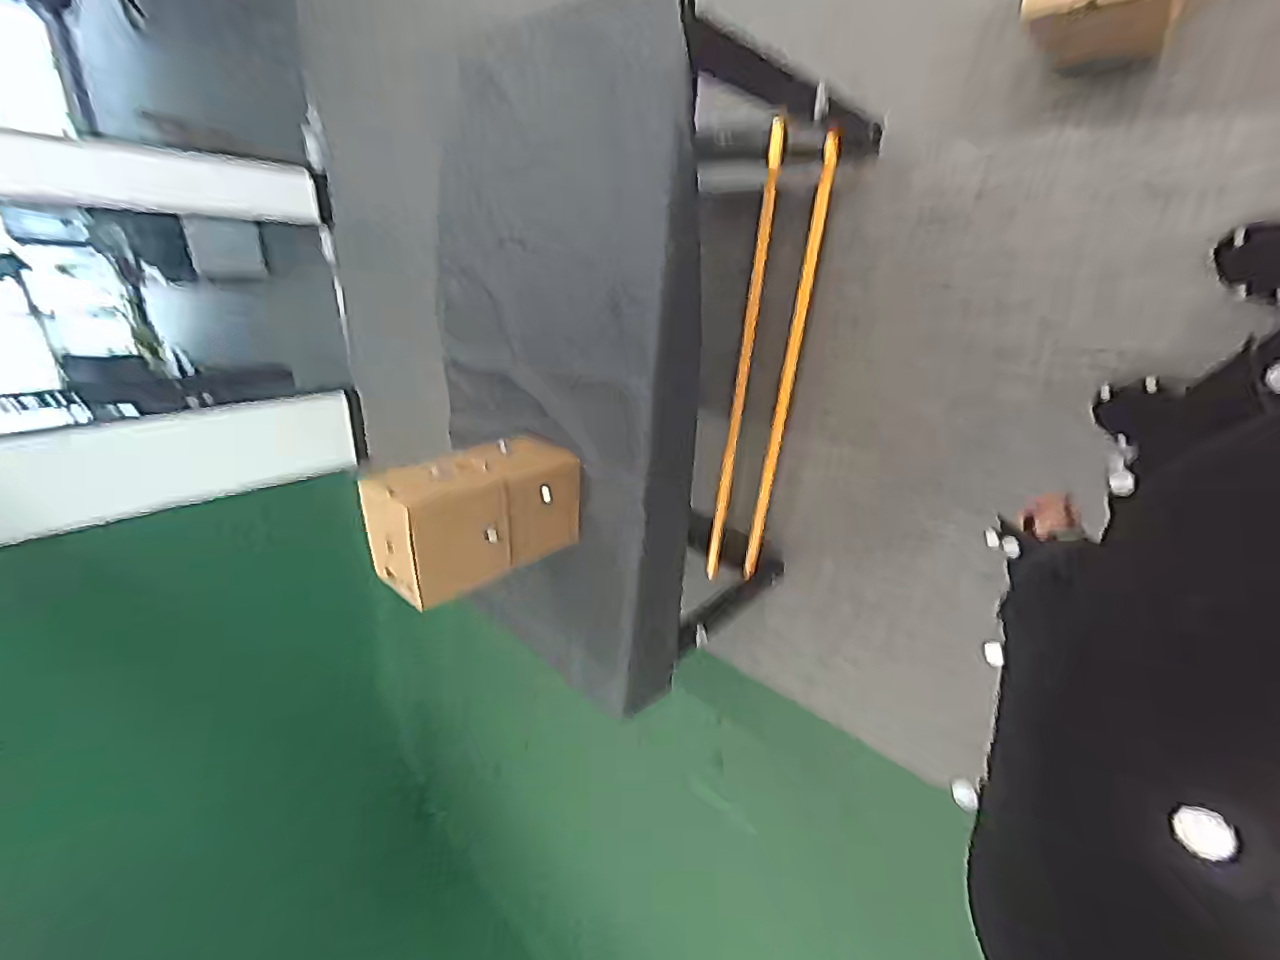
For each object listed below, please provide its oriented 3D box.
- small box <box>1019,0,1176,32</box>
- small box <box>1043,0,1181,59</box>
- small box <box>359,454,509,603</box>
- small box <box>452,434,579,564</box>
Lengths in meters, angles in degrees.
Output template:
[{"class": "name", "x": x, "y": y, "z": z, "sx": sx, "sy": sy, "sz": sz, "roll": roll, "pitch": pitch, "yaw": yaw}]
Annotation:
[{"class": "small box", "x": 0.643, "y": -0.737, "z": 0.724, "sx": 0.168, "sy": 0.176, "sz": 0.179, "roll": 21, "pitch": 118, "yaw": 36}, {"class": "small box", "x": 0.748, "y": -0.791, "z": 0.837, "sx": 0.168, "sy": 0.176, "sz": 0.179, "roll": 24, "pitch": 119, "yaw": 36}, {"class": "small box", "x": -0.333, "y": 0.067, "z": 0.892, "sx": 0.168, "sy": 0.176, "sz": 0.179, "roll": 19, "pitch": 116, "yaw": 39}, {"class": "small box", "x": -0.228, "y": 0.024, "z": 1.012, "sx": 0.168, "sy": 0.176, "sz": 0.179, "roll": 22, "pitch": 119, "yaw": 37}]
